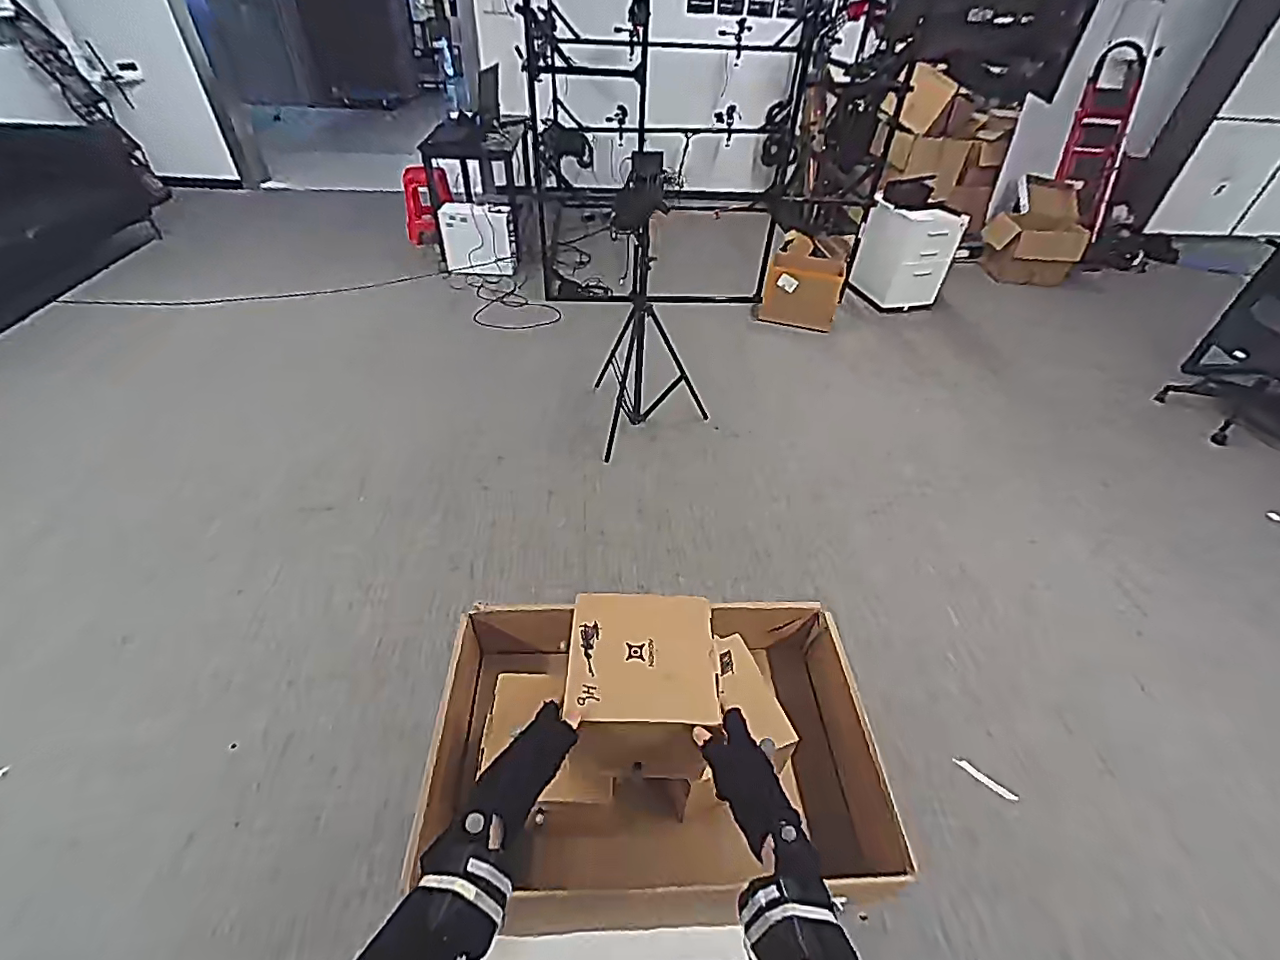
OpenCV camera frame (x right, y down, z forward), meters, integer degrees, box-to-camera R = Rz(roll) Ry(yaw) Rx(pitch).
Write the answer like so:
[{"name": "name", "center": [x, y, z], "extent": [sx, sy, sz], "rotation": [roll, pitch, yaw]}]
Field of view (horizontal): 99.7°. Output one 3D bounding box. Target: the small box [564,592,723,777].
[{"name": "small box", "center": [0.000, 0.265, 0.695], "extent": [0.179, 0.176, 0.168], "rotation": [3, 43, -2]}]
